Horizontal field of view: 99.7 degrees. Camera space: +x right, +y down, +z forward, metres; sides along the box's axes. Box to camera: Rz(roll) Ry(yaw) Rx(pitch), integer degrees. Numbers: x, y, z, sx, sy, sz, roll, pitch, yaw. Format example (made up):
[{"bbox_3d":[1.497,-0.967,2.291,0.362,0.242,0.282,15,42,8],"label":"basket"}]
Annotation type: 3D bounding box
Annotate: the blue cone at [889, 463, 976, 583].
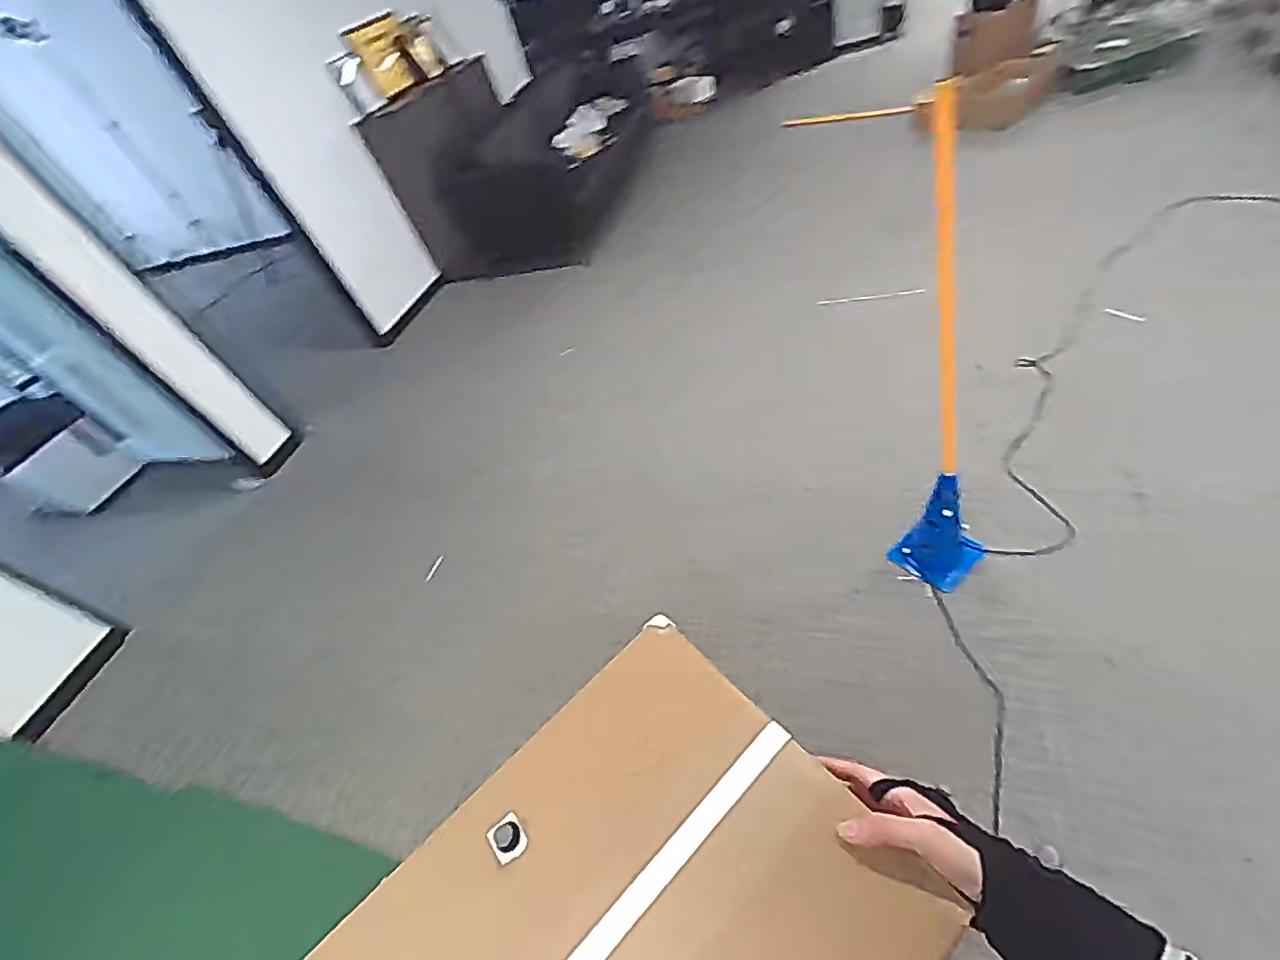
[{"bbox_3d":[0.809,0.095,1.473,0.193,0.380,0.192,-42,47,-17],"label":"blue cone"}]
